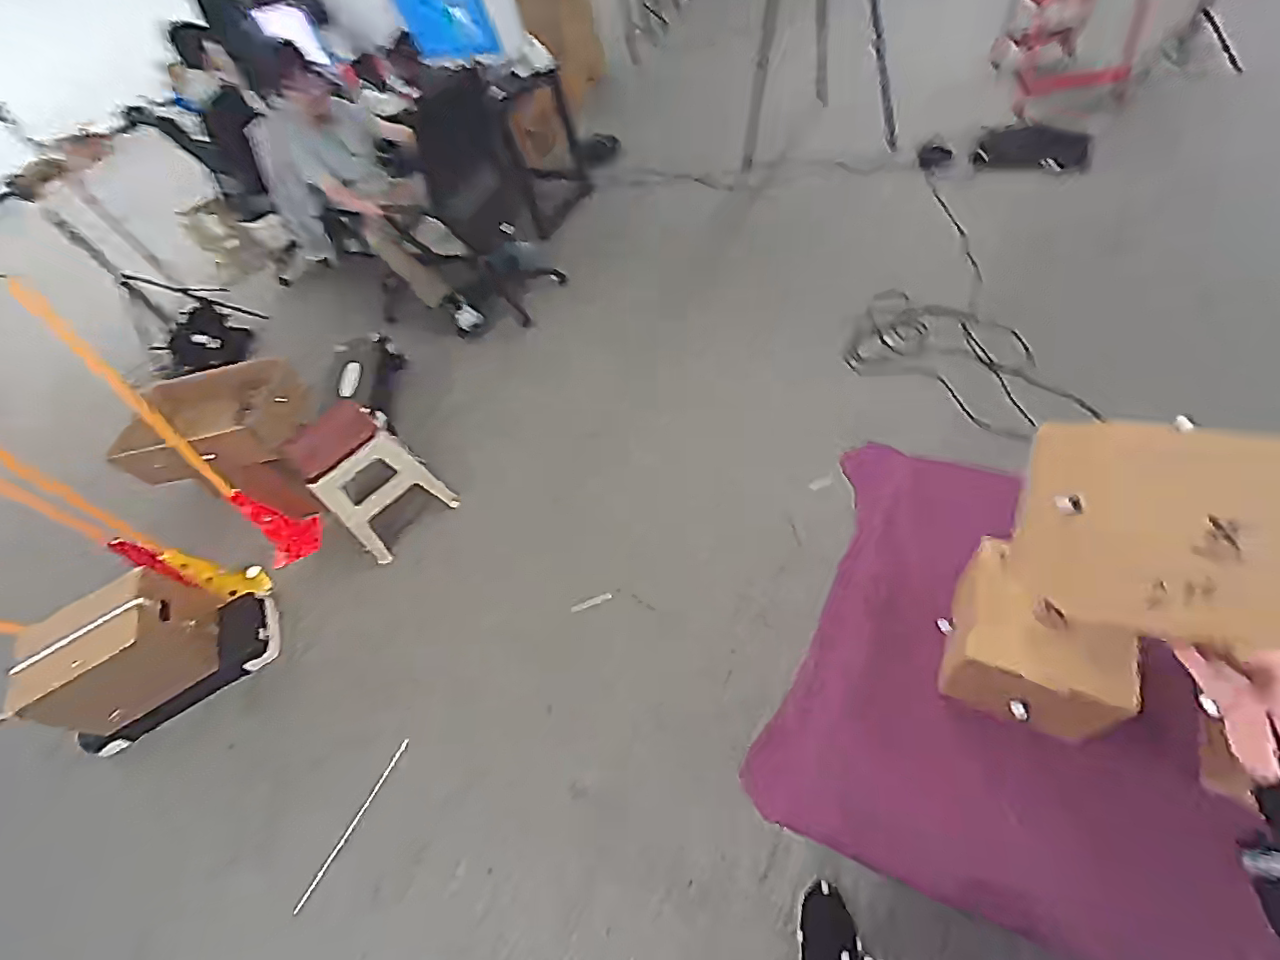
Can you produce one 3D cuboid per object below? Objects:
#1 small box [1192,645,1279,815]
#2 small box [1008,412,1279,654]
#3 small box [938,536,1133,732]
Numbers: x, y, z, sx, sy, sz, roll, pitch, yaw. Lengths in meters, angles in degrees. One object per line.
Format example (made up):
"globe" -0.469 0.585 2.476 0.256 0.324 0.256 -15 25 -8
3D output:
"small box" 0.760 0.278 0.586 0.179 0.176 0.168 15 60 26
"small box" 0.480 0.037 0.511 0.168 0.176 0.179 10 97 16
"small box" 0.508 0.206 0.713 0.168 0.176 0.179 15 61 25
